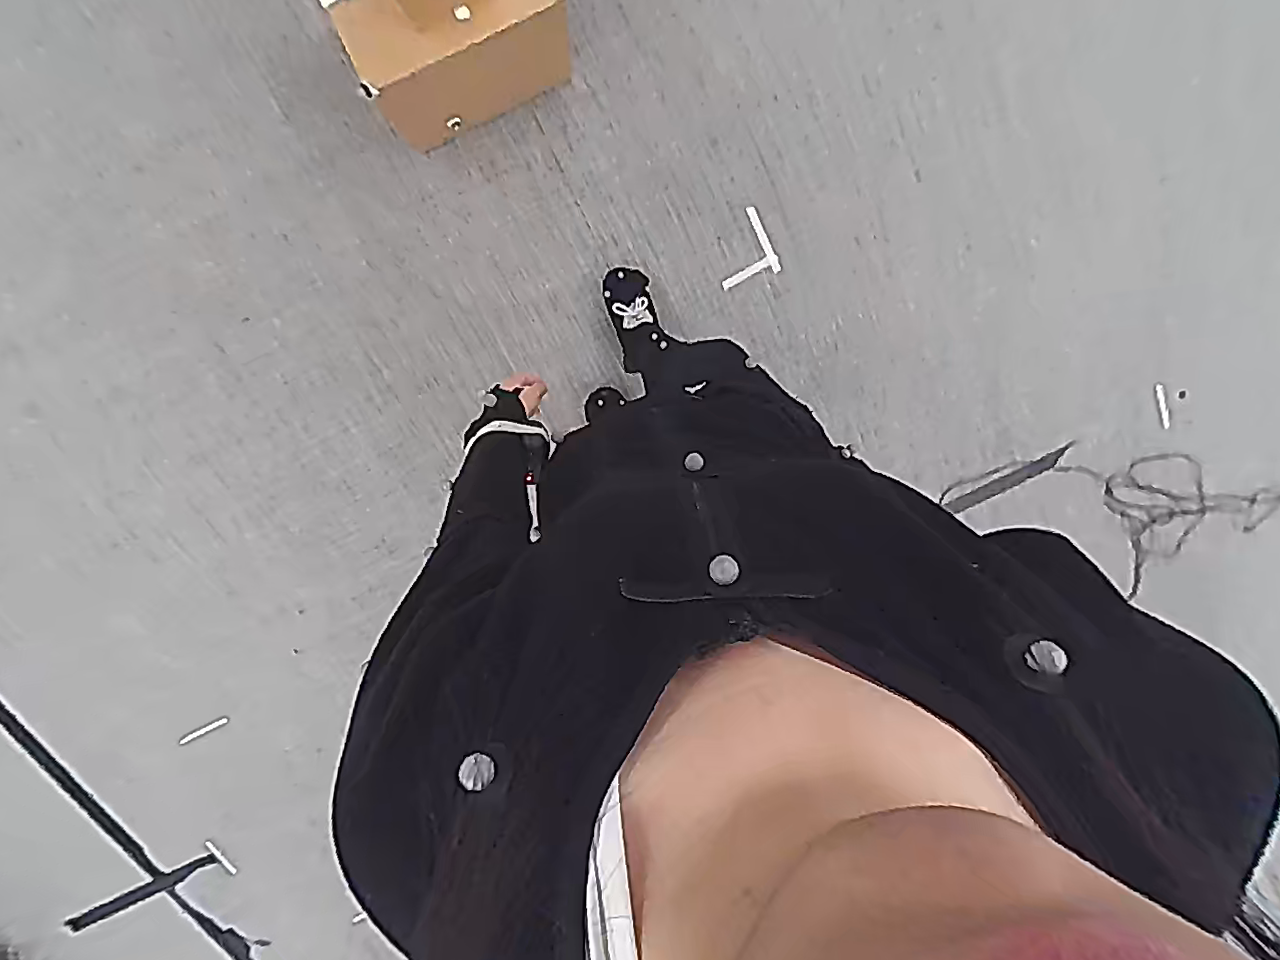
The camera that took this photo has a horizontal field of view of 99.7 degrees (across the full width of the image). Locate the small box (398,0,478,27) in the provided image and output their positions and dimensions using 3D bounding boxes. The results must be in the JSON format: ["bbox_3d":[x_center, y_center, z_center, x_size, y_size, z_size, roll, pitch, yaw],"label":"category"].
[{"bbox_3d":[-0.351,-0.886,0.865,0.179,0.176,0.168,-27,105,1],"label":"small box"}]
